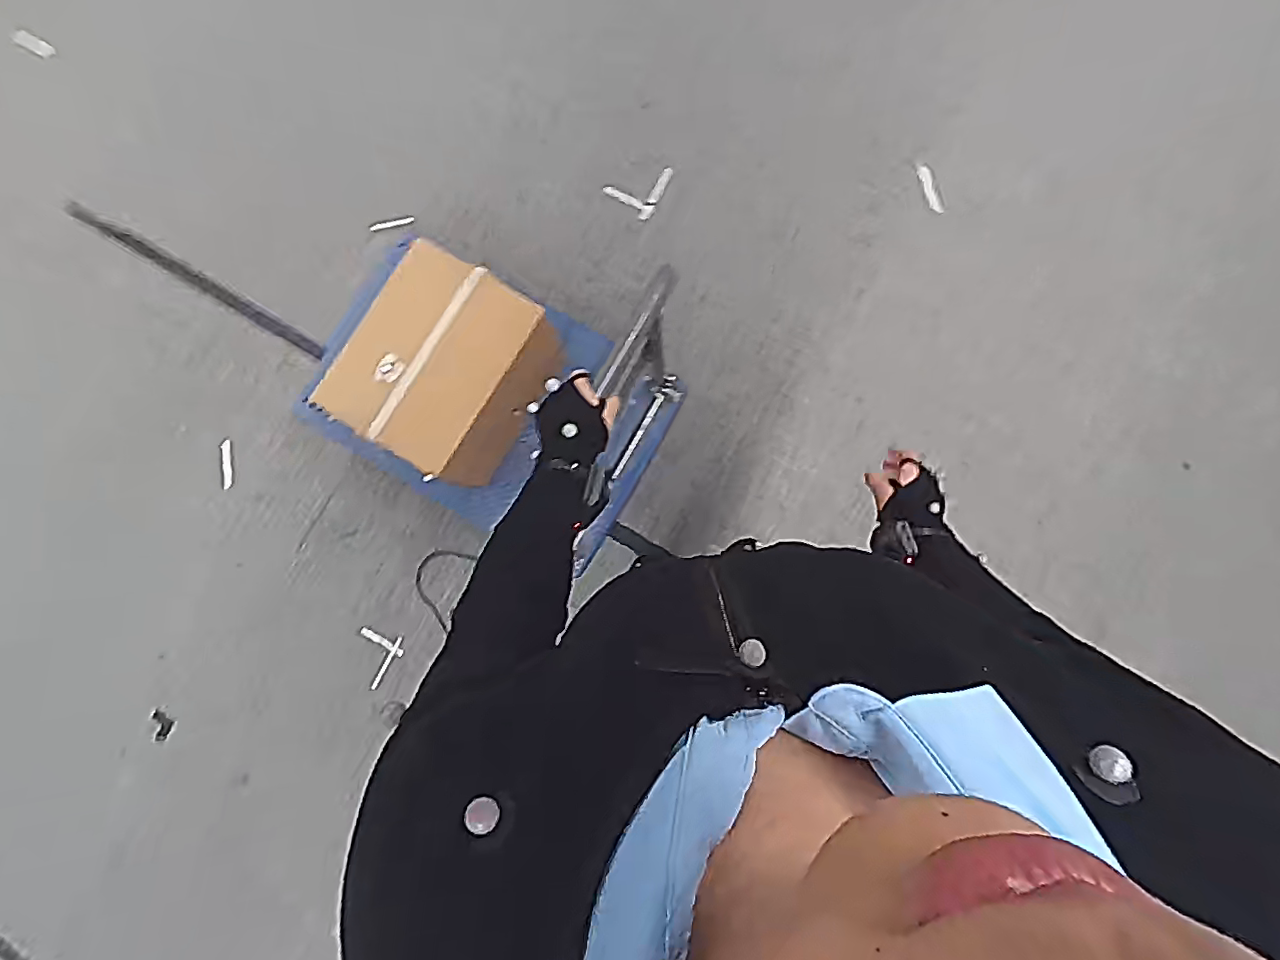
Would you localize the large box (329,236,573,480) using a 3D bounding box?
[{"bbox_3d":[-0.401,-0.253,1.246,0.320,0.320,0.408,32,88,5],"label":"large box"}]
